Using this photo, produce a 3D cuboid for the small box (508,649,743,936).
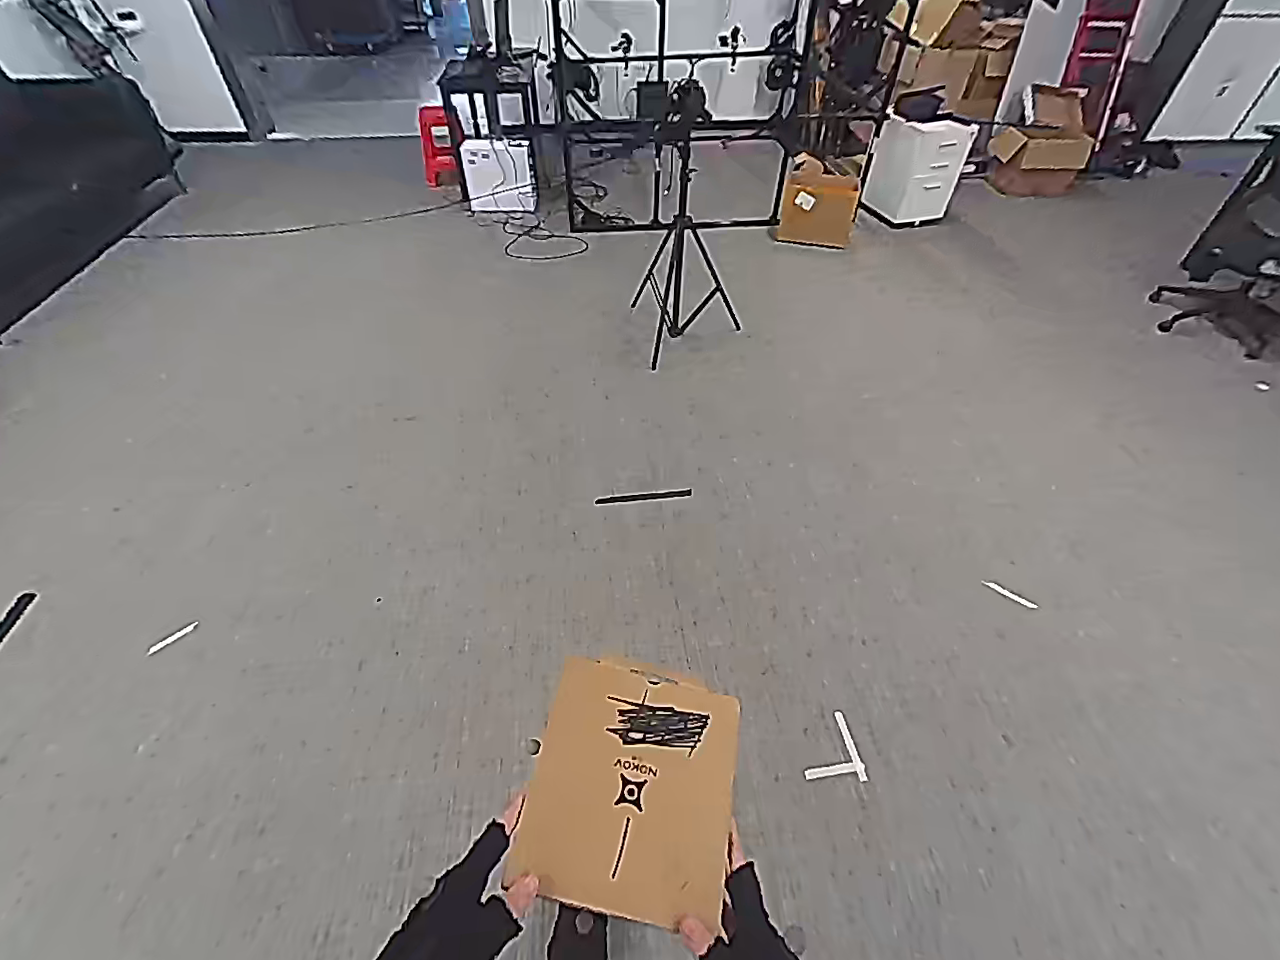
[{"bbox_3d":[-0.015,0.288,0.503,0.168,0.176,0.179,15,52,0],"label":"small box"}]
